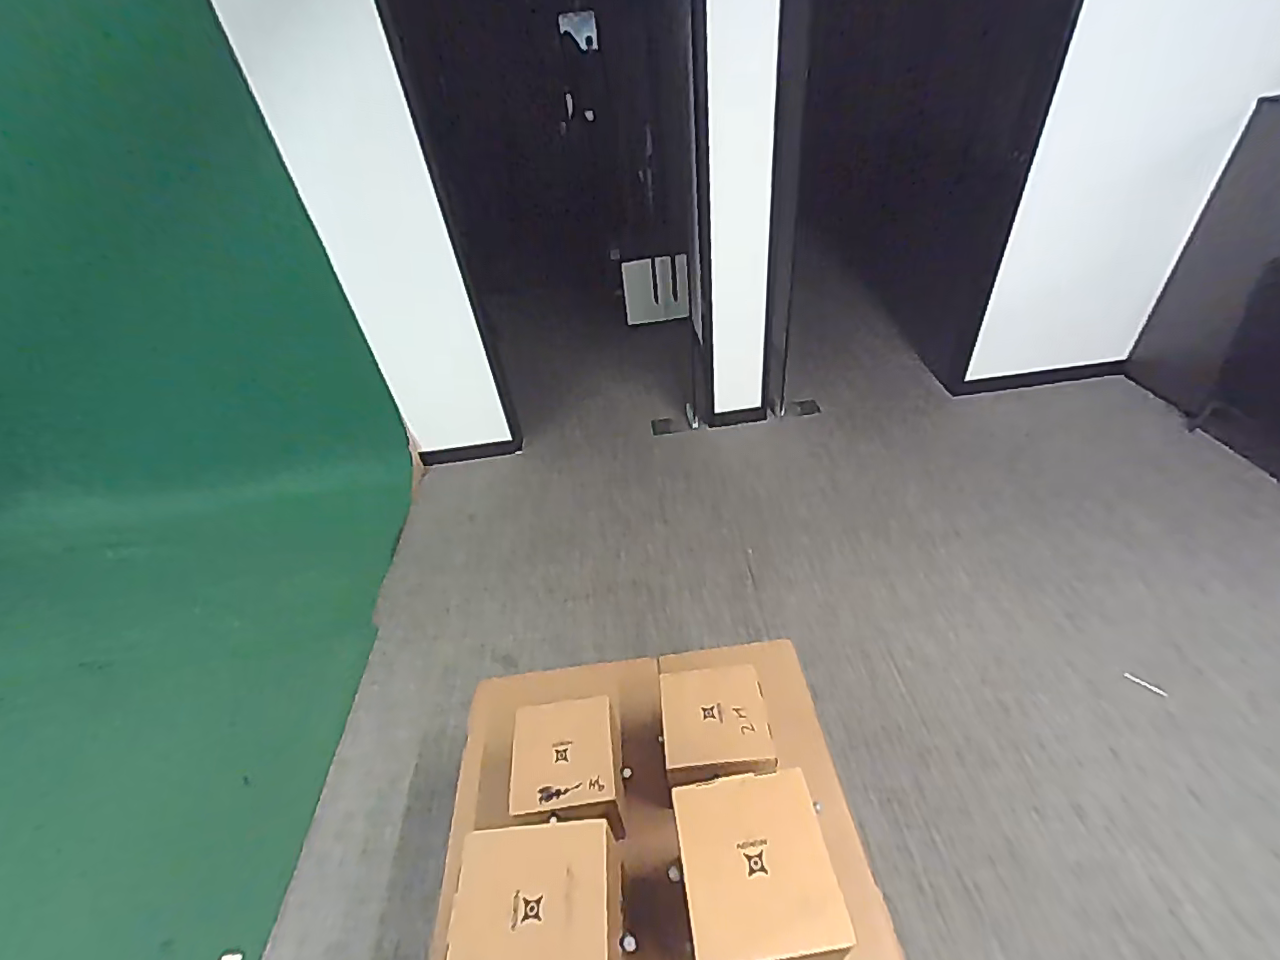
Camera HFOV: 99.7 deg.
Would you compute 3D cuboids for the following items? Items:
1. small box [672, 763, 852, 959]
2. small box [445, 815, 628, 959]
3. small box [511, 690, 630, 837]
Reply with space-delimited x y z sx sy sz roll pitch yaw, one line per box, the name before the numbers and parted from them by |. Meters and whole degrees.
small box | 0.139 0.479 0.657 0.168 0.176 0.179 -10 40 0
small box | -0.112 0.527 0.646 0.179 0.176 0.168 -6 42 2
small box | -0.113 0.496 0.934 0.168 0.176 0.179 -10 39 1
